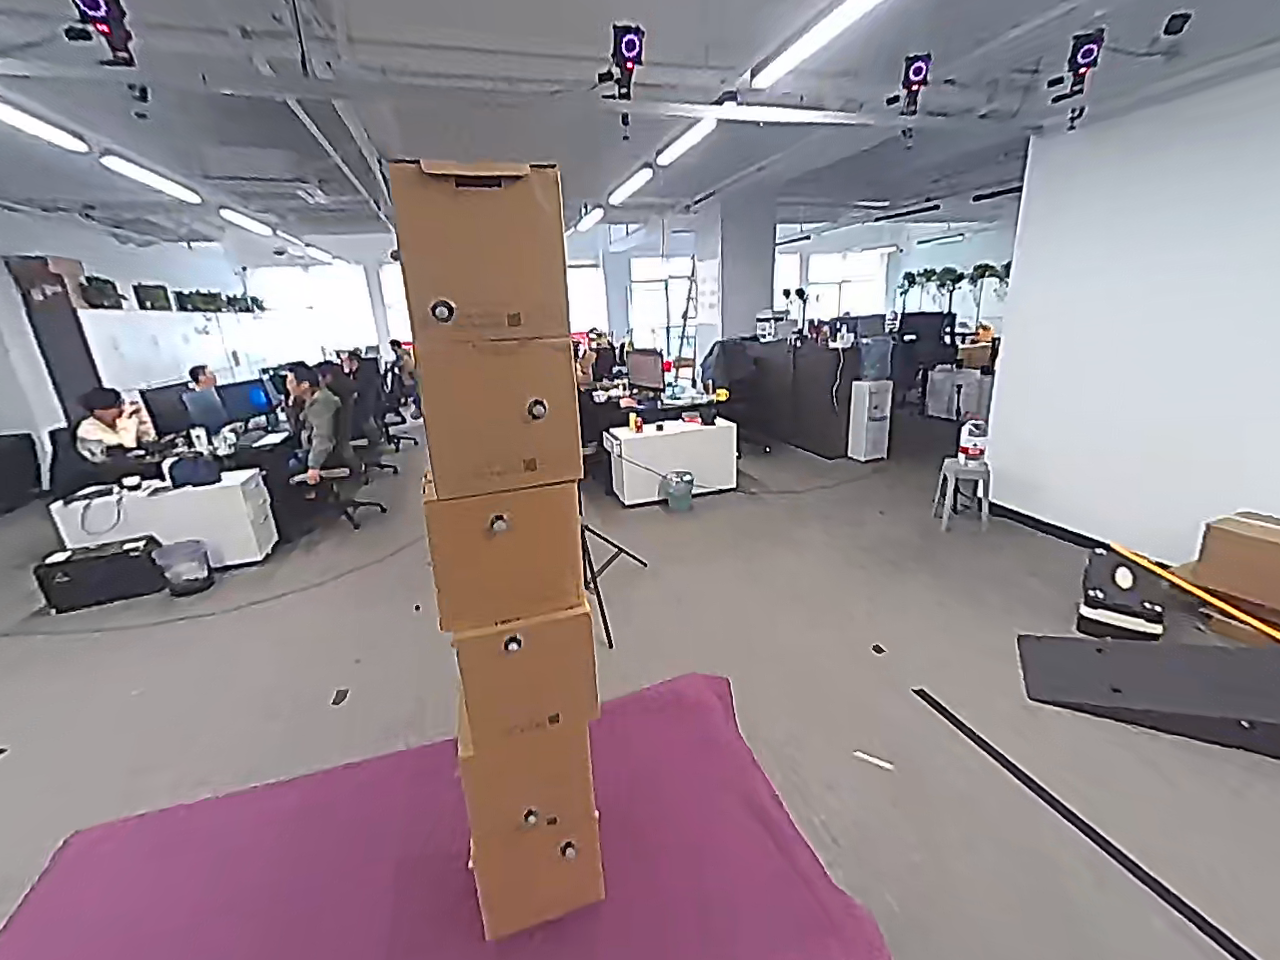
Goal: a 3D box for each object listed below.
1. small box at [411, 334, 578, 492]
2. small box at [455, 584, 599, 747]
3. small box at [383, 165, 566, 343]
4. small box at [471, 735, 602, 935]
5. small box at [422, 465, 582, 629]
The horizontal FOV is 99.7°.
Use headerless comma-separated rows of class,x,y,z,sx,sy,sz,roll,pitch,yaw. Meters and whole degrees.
small box,-0.178,-0.088,0.666,0.168,0.176,0.179,-8,17,-19
small box,-0.159,0.227,0.747,0.168,0.176,0.179,-9,18,-17
small box,-0.185,-0.247,0.626,0.168,0.176,0.179,-8,17,-17
small box,-0.160,0.541,0.838,0.179,0.176,0.168,-9,18,-16
small box,-0.177,0.069,0.708,0.179,0.176,0.168,-9,18,-17
